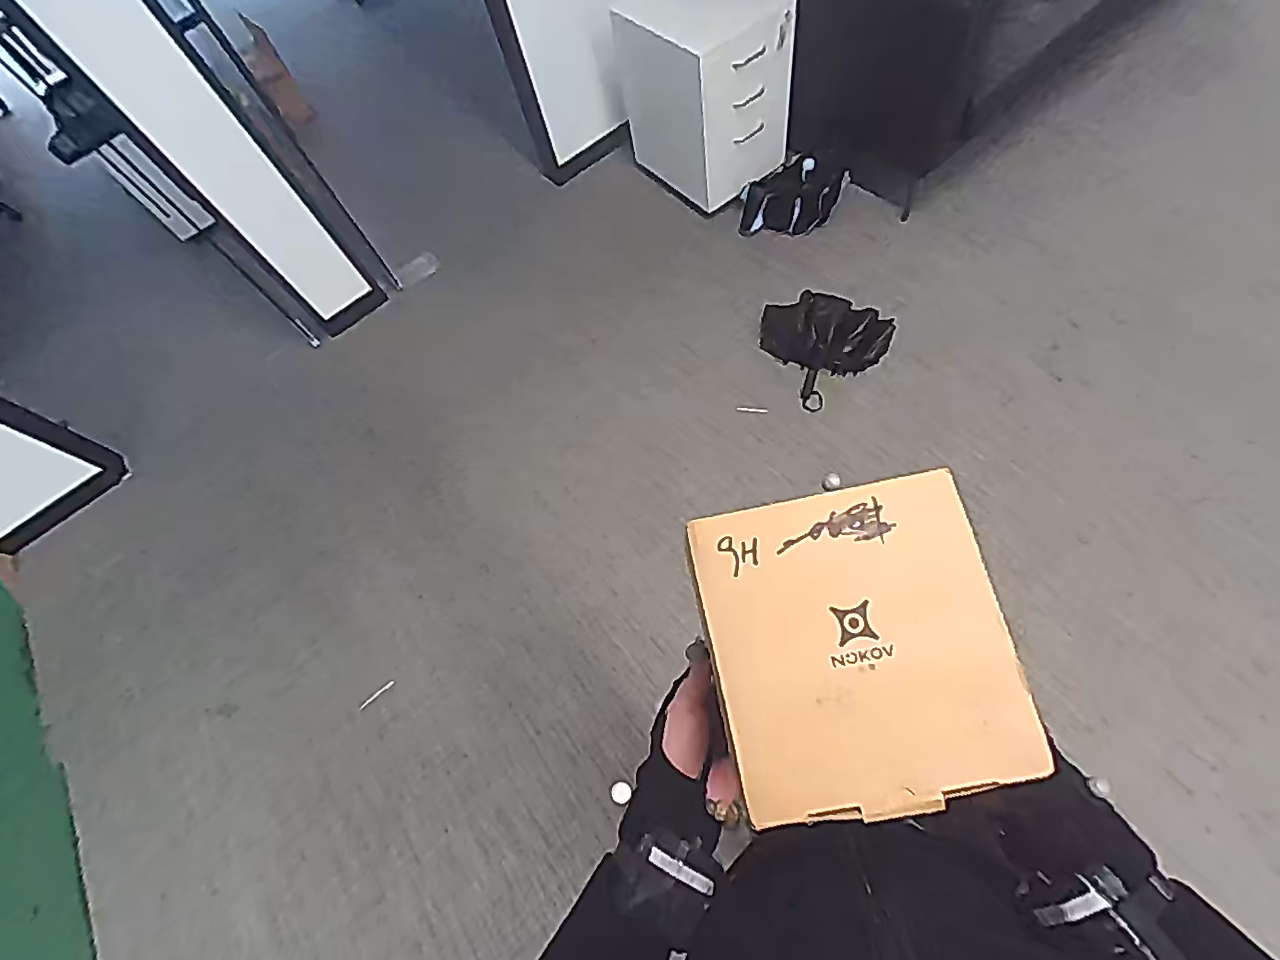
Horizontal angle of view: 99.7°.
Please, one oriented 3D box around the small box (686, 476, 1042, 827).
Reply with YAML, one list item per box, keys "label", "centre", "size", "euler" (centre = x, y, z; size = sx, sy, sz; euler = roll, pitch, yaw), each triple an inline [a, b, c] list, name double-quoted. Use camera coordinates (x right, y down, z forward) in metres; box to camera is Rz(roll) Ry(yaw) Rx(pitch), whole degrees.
- label: "small box"
  centre: [0.130, 0.111, 0.391]
  size: [0.168, 0.176, 0.179]
  euler: [-11, 77, 1]
